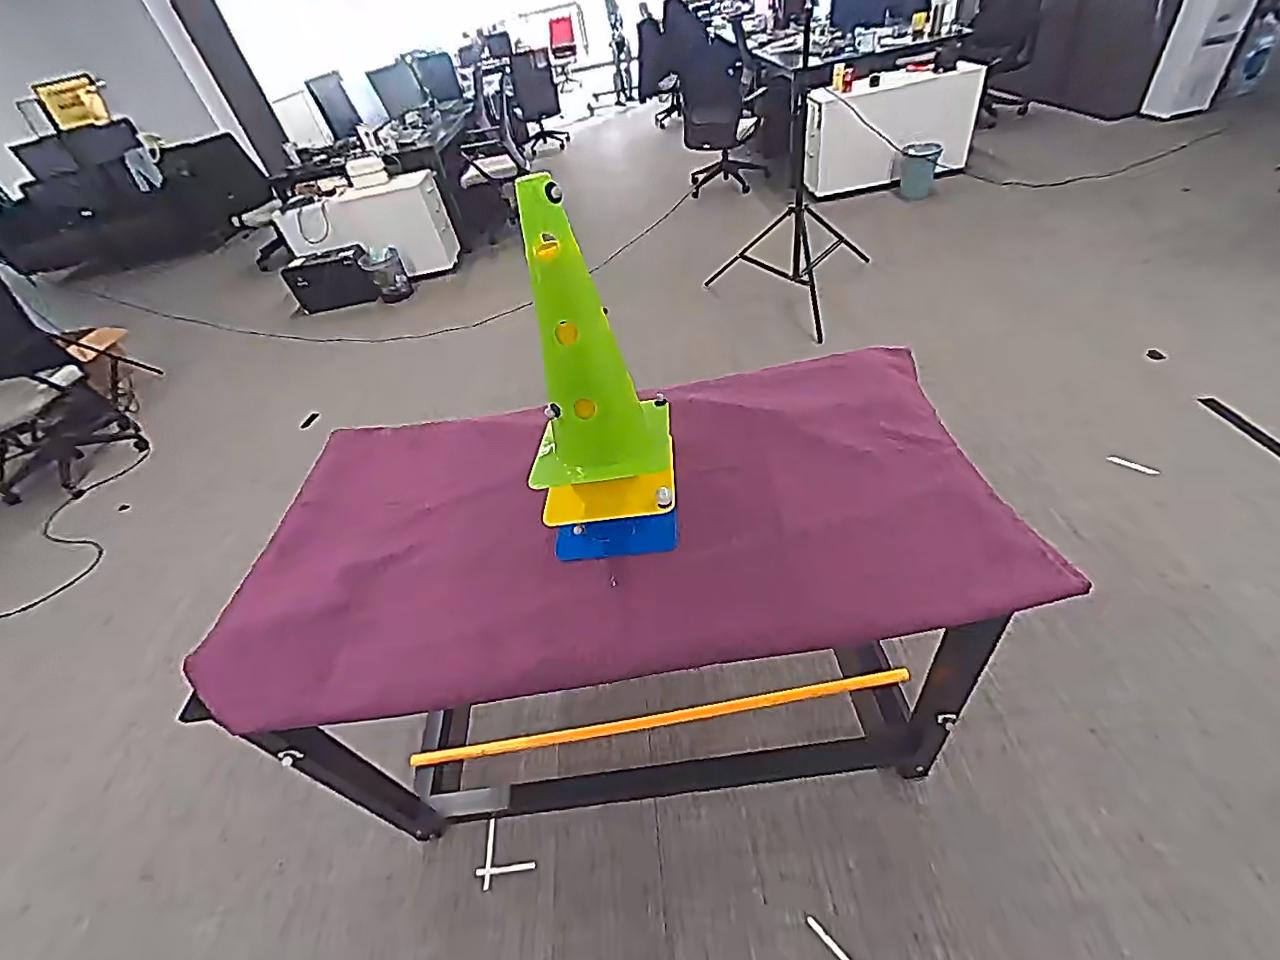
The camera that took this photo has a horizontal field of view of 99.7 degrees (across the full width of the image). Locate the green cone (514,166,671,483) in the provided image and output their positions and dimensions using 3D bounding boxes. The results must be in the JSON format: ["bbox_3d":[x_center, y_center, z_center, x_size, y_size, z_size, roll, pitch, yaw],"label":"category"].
[{"bbox_3d":[-0.088,-0.201,0.704,0.200,0.368,0.202,-9,36,8],"label":"green cone"}]
